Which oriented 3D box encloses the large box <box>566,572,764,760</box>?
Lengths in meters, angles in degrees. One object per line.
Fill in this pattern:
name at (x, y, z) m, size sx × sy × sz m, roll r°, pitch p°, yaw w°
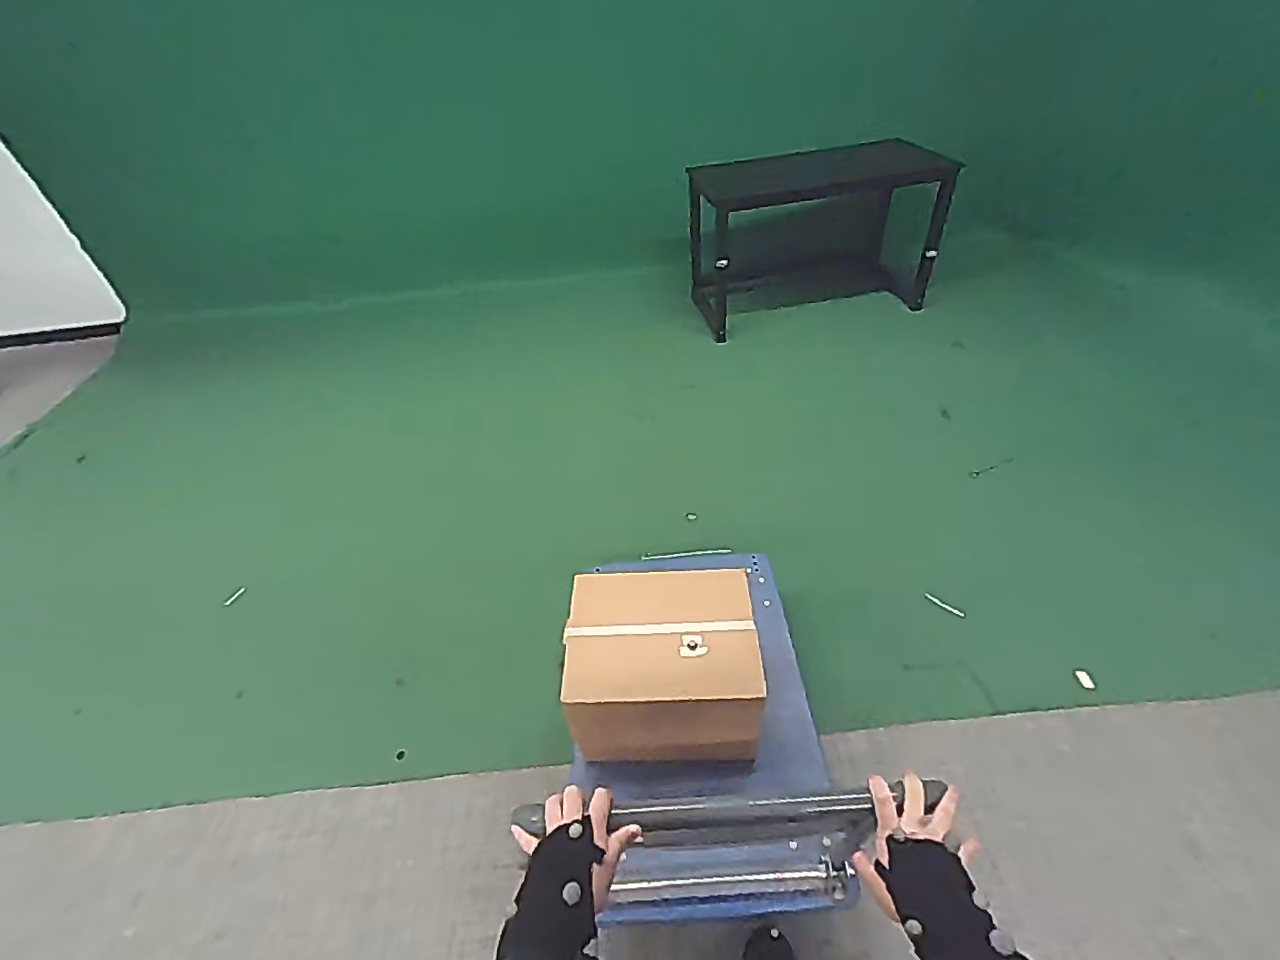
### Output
large box at (0.055, 0.441, 1.281) m, size 0.408 × 0.320 × 0.320 m, roll -2°, pitch 43°, yaw 2°
